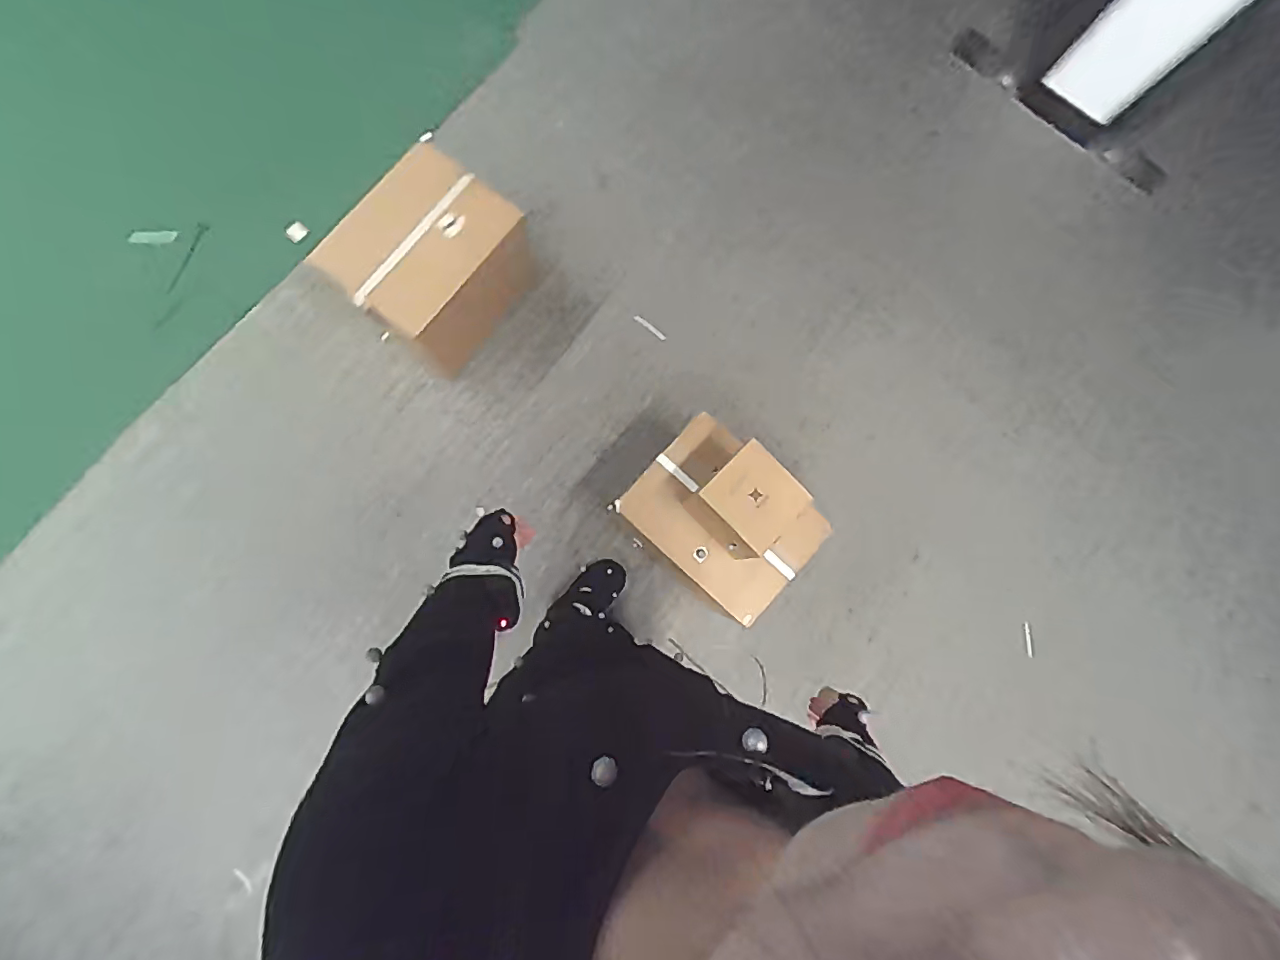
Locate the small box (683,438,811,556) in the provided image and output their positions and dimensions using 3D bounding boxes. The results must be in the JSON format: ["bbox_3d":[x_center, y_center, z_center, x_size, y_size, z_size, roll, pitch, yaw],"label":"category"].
[{"bbox_3d":[0.214,0.042,1.130,0.168,0.176,0.179,-43,87,-12],"label":"small box"}]

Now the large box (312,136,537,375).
[{"bbox_3d":[-0.522,-0.553,1.394,0.320,0.320,0.408,37,79,1],"label":"large box"}]
